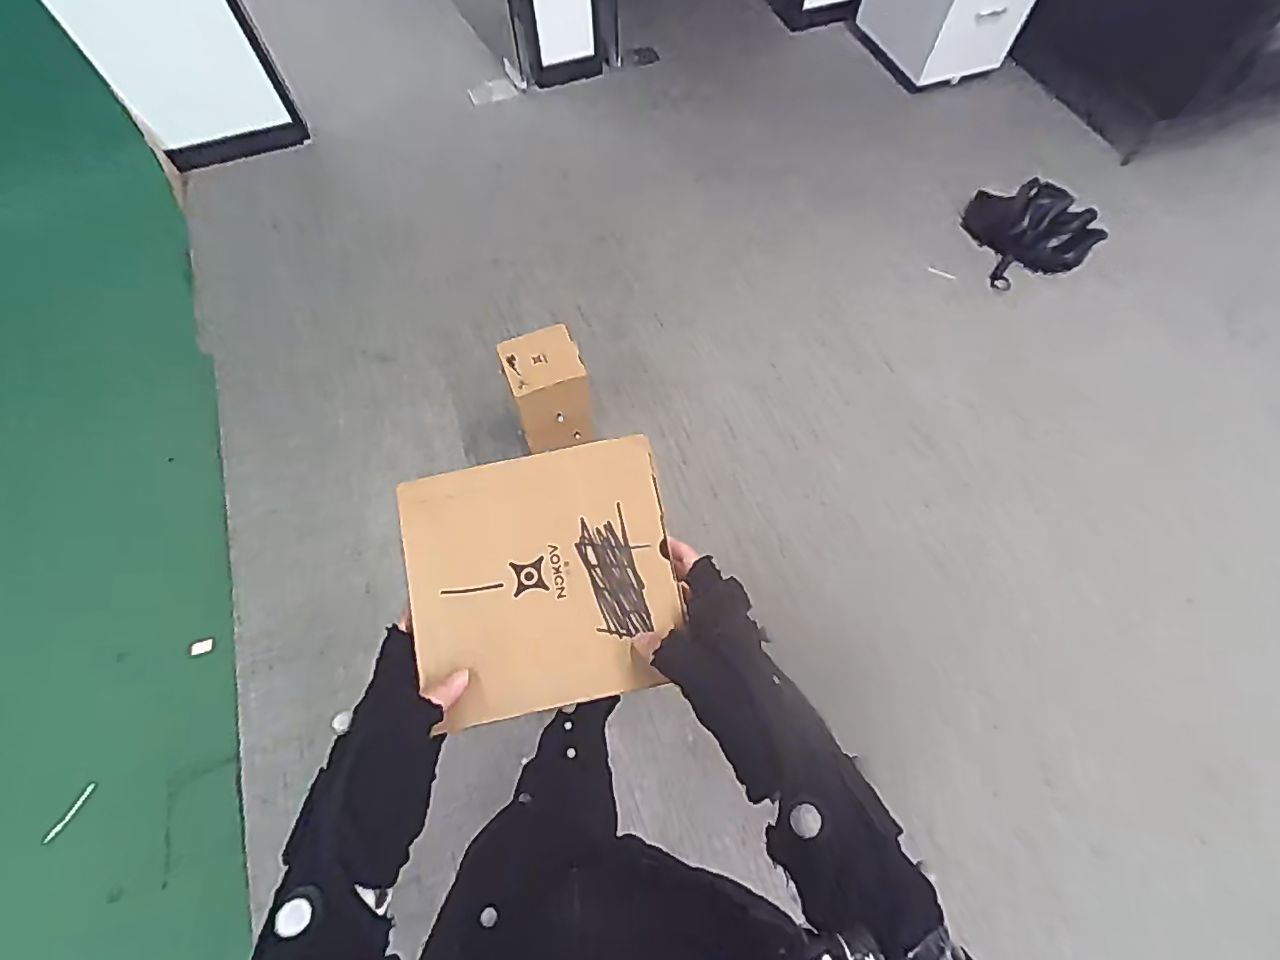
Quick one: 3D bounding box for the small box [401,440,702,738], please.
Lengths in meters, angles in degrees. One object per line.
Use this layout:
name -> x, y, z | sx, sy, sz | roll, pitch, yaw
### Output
small box -> -0.065, 0.083, 0.442 | 0.179, 0.176, 0.168 | -15, 78, -4

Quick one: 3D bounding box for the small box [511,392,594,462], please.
small box -> -0.233, -0.163, 1.487 | 0.179, 0.176, 0.168 | -20, 65, -8

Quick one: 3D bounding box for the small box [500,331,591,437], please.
small box -> -0.226, -0.233, 1.339 | 0.179, 0.176, 0.168 | -20, 66, -10
